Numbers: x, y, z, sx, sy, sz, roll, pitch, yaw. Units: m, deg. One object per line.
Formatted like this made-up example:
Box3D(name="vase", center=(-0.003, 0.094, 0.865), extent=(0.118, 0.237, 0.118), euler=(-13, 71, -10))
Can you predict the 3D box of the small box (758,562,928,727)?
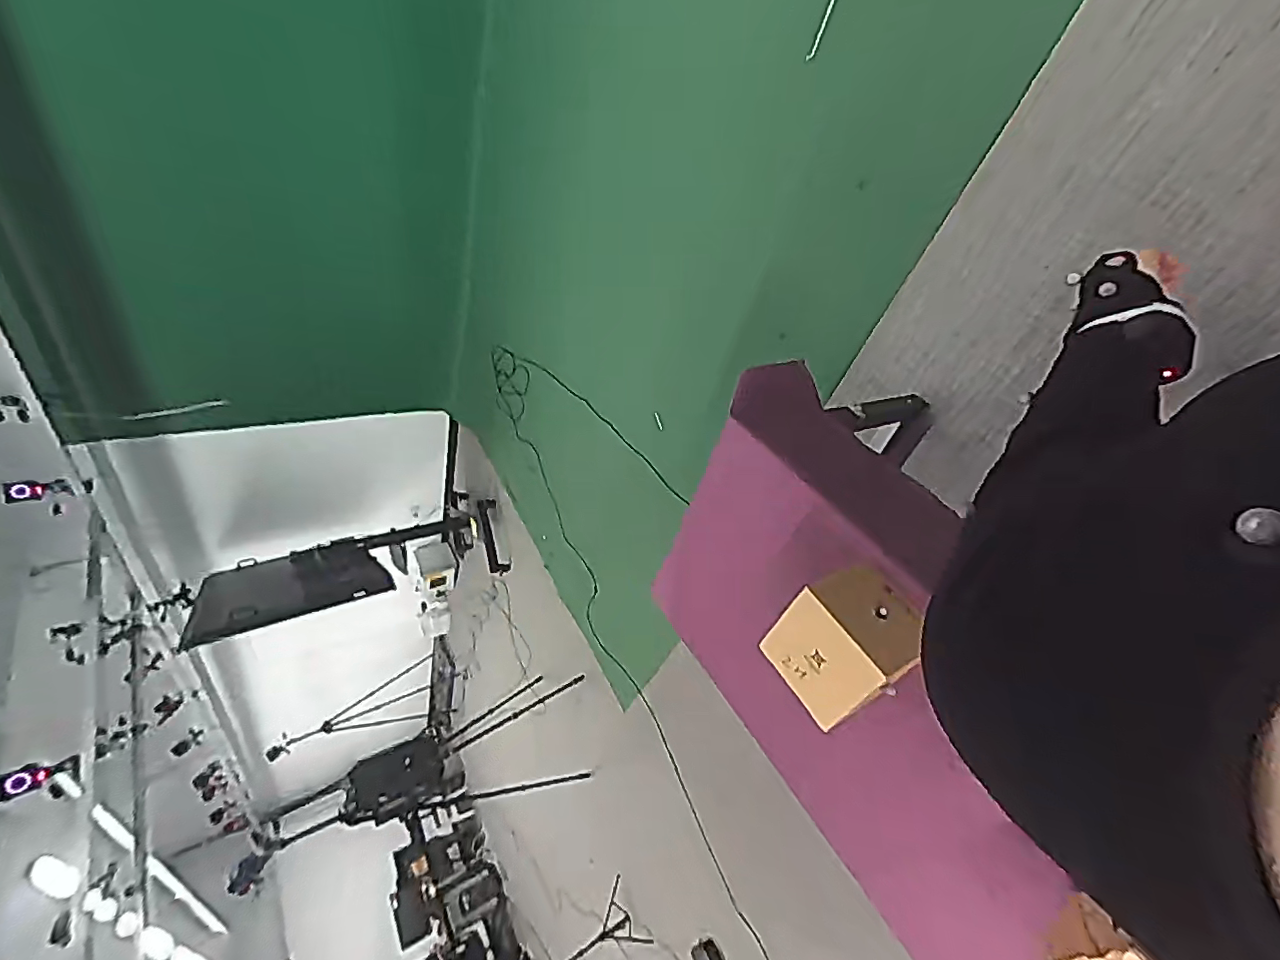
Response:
Box3D(name="small box", center=(0.334, 0.260, 0.885), extent=(0.168, 0.176, 0.179), euler=(53, 138, 32))
